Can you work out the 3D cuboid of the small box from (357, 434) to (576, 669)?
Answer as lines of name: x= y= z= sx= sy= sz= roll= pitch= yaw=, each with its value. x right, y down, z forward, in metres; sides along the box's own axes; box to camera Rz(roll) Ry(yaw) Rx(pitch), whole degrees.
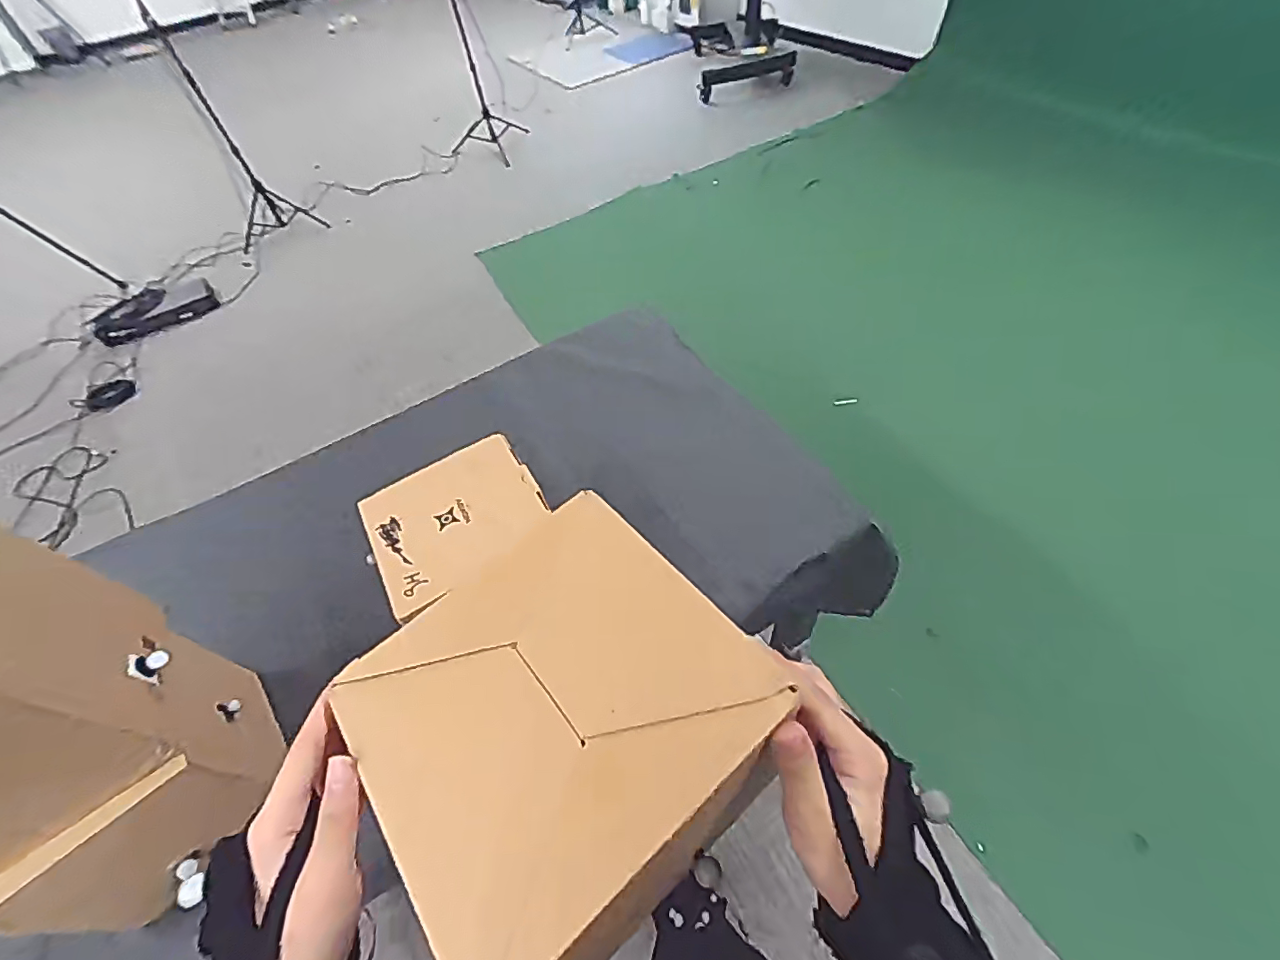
small box: x=-0.187 y=0.085 z=0.627 sx=0.179 sy=0.176 sz=0.168 roll=-28 pitch=55 yaw=-15

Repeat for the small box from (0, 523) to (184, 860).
small box: x=-0.497 y=0.167 z=0.396 sx=0.179 sy=0.176 sz=0.168 roll=-34 pitch=58 yaw=-19

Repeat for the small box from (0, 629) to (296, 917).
small box: x=-0.477 y=0.276 z=0.516 sx=0.168 sy=0.176 sz=0.179 roll=-38 pitch=58 yaw=-20
